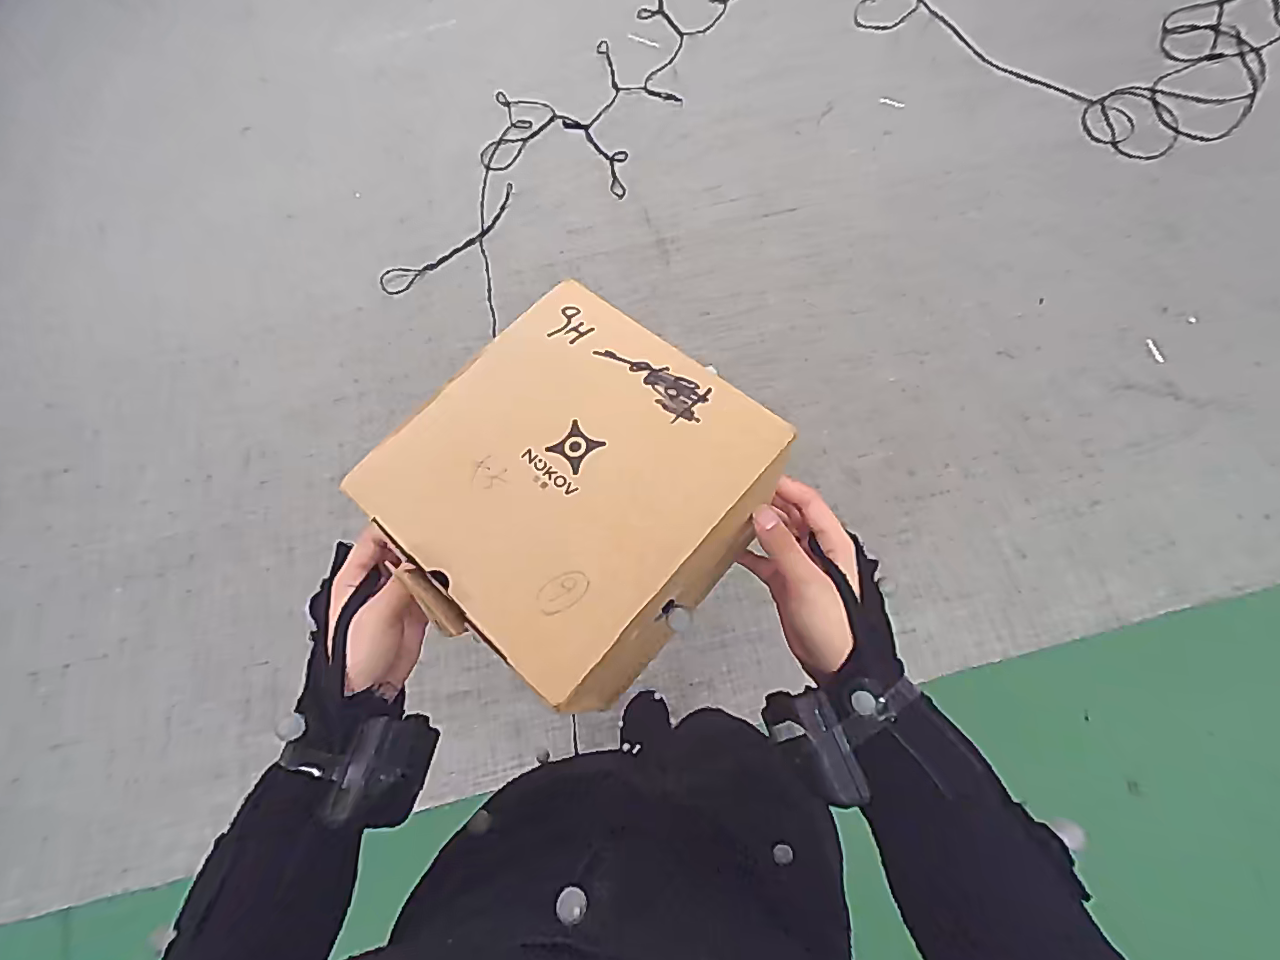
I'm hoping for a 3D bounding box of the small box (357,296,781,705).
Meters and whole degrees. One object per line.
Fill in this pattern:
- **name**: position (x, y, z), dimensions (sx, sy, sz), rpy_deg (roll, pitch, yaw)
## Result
- **small box**: position (-0.032, 0.025, 0.360), dimensions (0.168, 0.176, 0.179), rpy_deg (38, 76, 19)
